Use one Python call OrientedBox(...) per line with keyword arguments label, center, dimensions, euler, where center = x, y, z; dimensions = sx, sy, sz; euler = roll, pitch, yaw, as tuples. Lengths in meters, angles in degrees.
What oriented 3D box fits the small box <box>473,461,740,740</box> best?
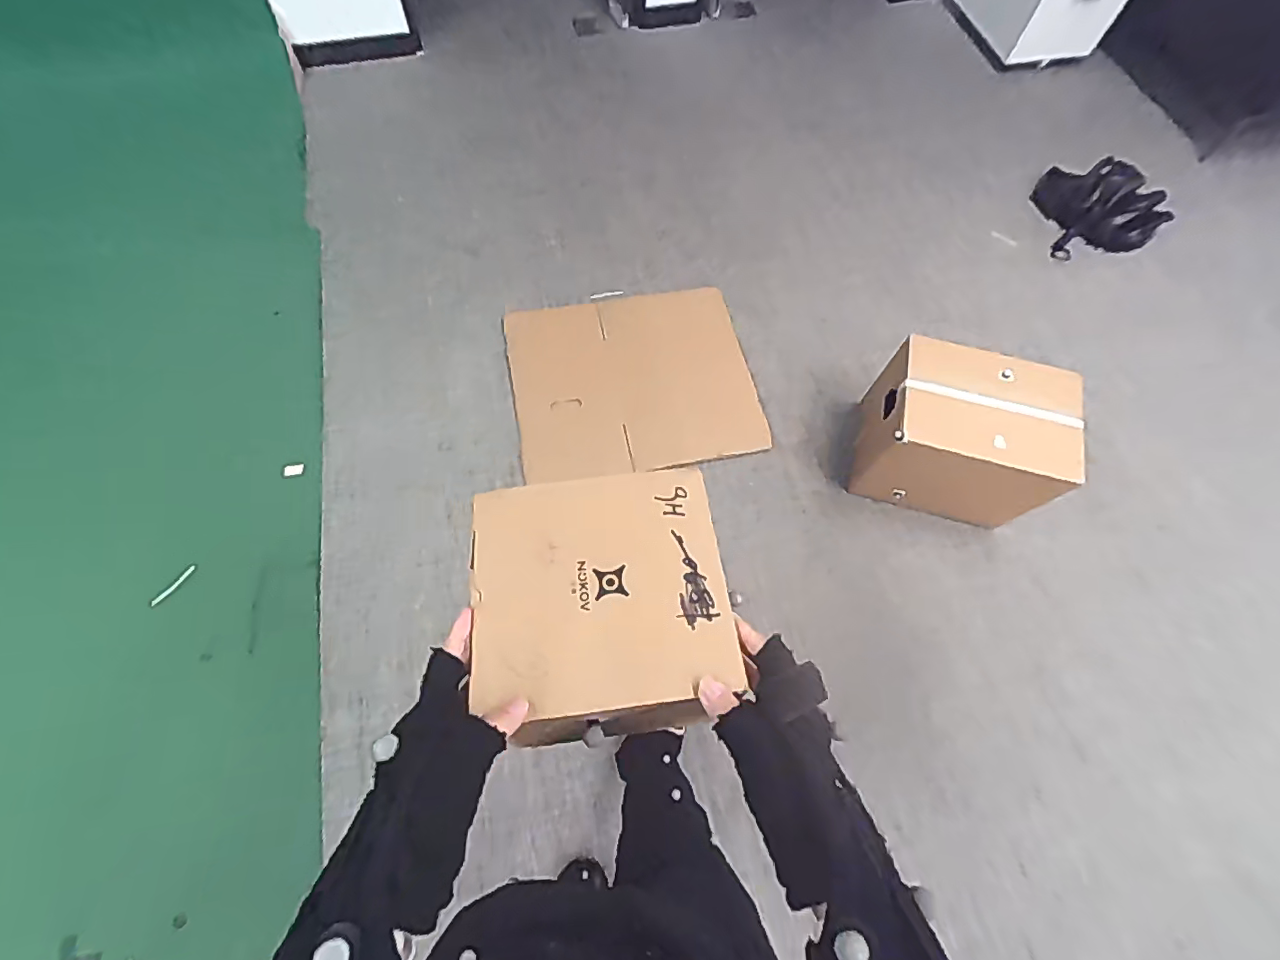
OrientedBox(label="small box", center=(-0.030, 0.108, 0.456), dimensions=(0.179, 0.176, 0.168), euler=(-9, 58, -5))
